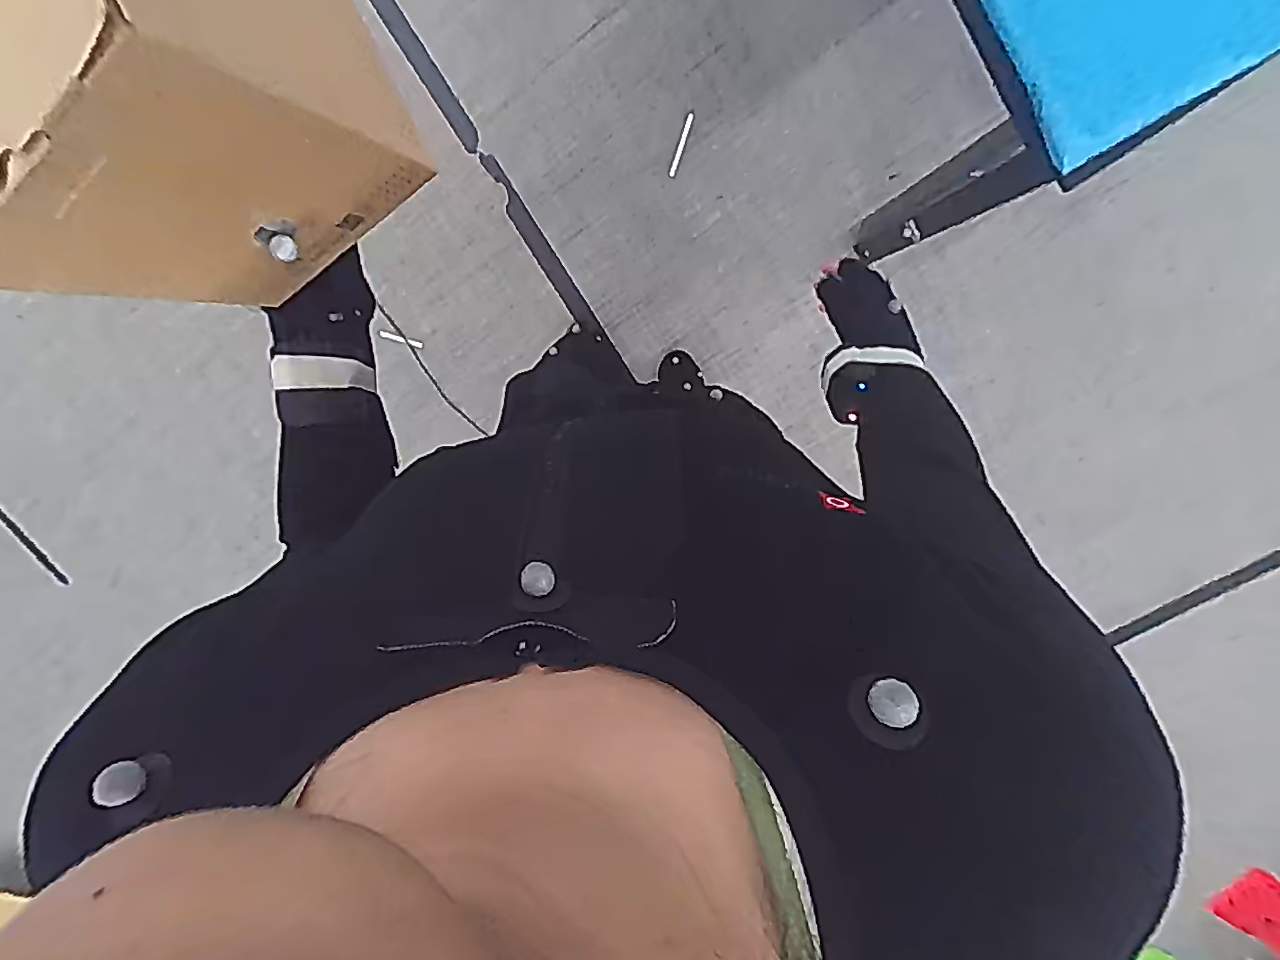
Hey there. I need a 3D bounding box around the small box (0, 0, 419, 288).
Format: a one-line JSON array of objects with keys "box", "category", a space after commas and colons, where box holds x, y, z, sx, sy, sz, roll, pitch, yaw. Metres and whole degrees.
[{"box": [-0.256, -0.215, 0.274, 0.168, 0.176, 0.179, -20, 100, 22], "category": "small box"}]

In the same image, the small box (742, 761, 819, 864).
[{"box": [0.366, 0.870, 1.432, 0.168, 0.176, 0.179, -8, 104, 9], "category": "small box"}]
